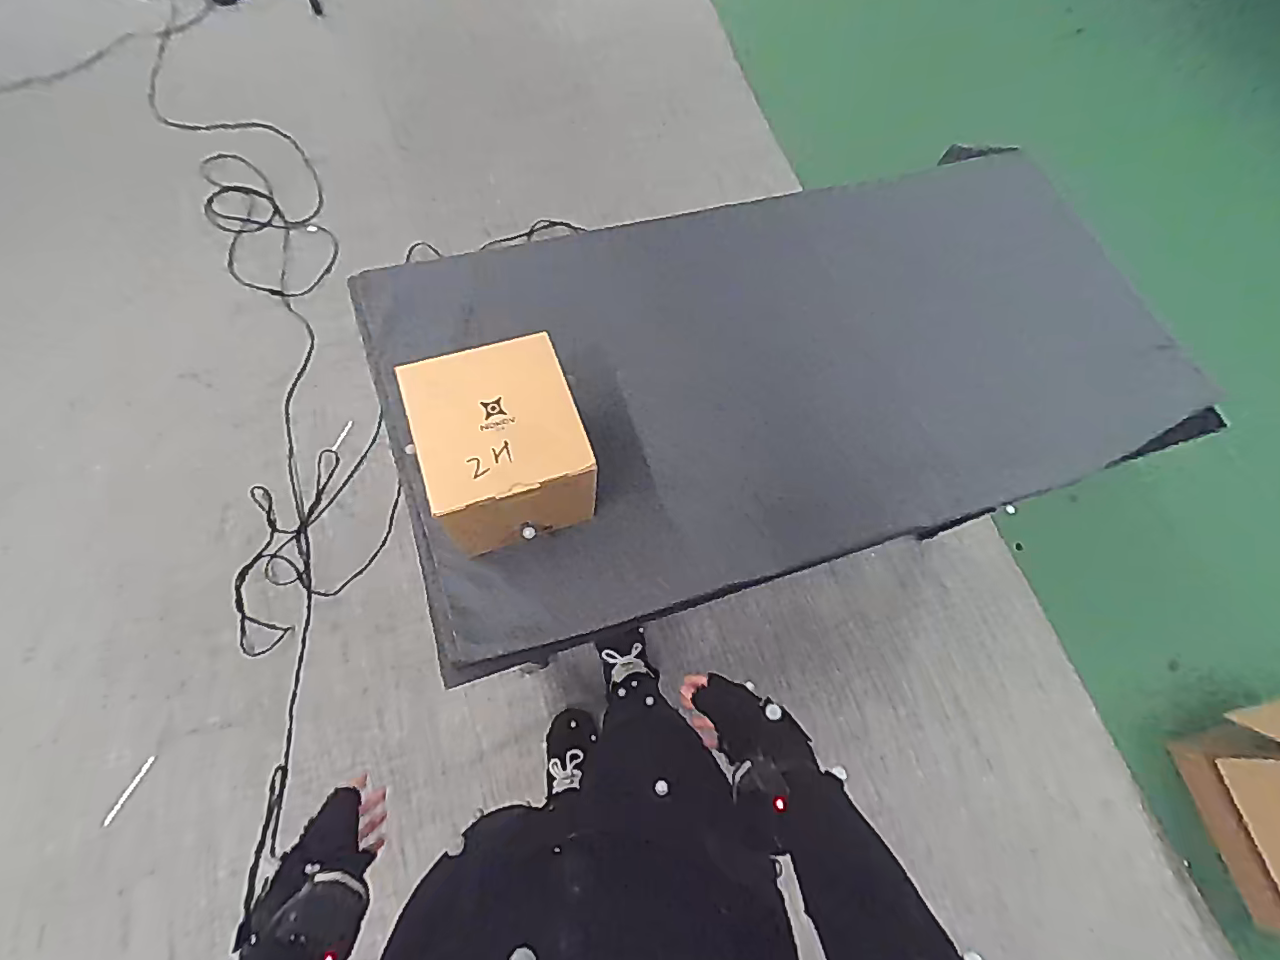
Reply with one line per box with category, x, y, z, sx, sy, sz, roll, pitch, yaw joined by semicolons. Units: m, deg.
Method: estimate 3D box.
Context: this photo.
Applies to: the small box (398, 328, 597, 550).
small box;-0.157;-0.041;0.626;0.168;0.176;0.179;-18;71;-13
